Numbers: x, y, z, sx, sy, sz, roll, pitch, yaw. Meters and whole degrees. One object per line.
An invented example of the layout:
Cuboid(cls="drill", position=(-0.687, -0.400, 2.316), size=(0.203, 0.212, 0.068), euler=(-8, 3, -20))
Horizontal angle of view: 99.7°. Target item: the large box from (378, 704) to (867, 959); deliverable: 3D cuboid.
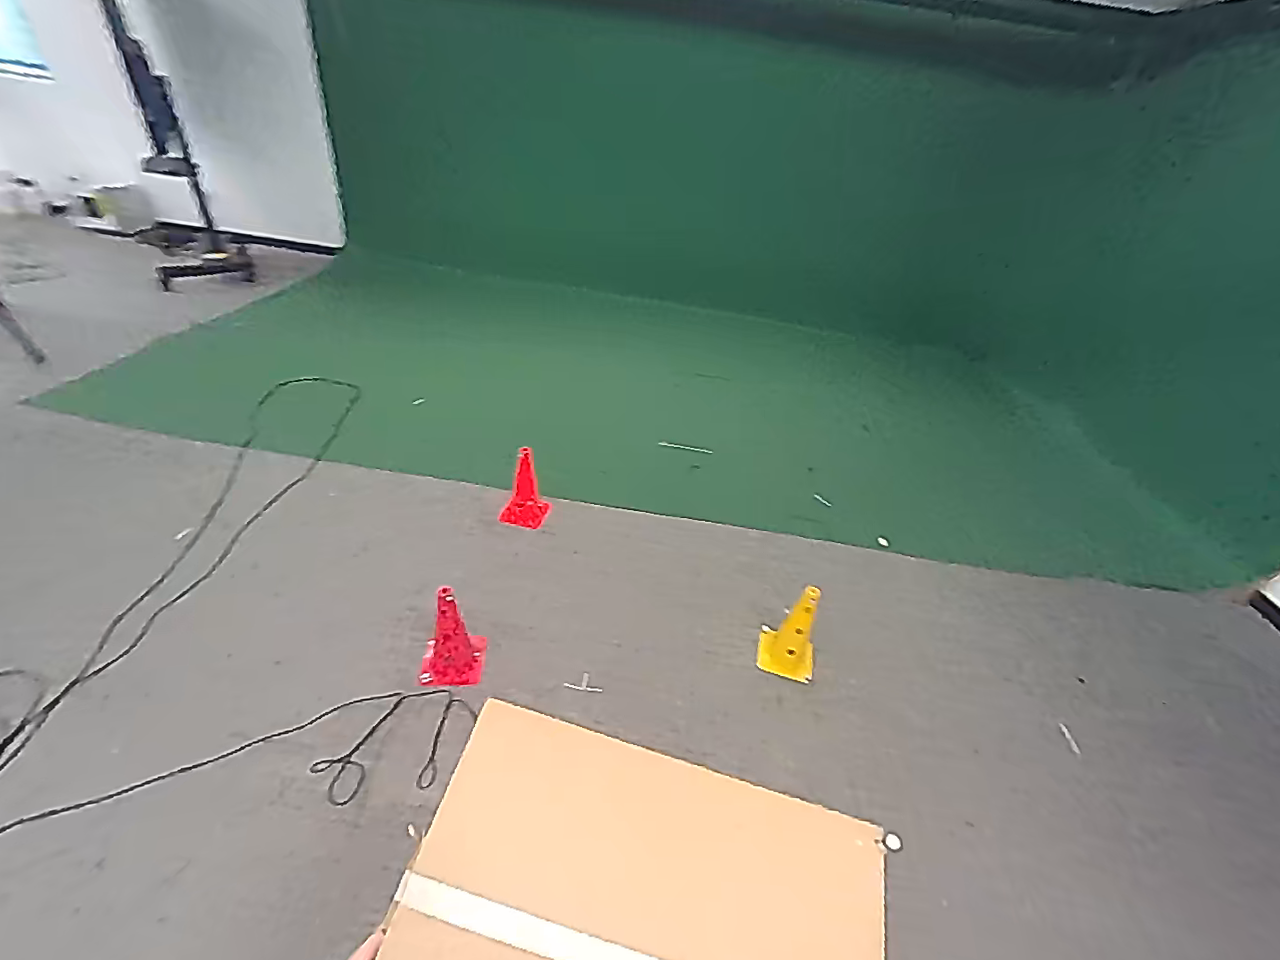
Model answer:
Cuboid(cls="large box", position=(-0.027, 0.478, 0.571), size=(0.408, 0.320, 0.320), euler=(17, 55, 2))

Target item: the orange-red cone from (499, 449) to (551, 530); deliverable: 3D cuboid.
Cuboid(cls="orange-red cone", position=(-0.517, 0.021, 2.439), size=(0.199, 0.360, 0.198), euler=(13, 35, 8))
